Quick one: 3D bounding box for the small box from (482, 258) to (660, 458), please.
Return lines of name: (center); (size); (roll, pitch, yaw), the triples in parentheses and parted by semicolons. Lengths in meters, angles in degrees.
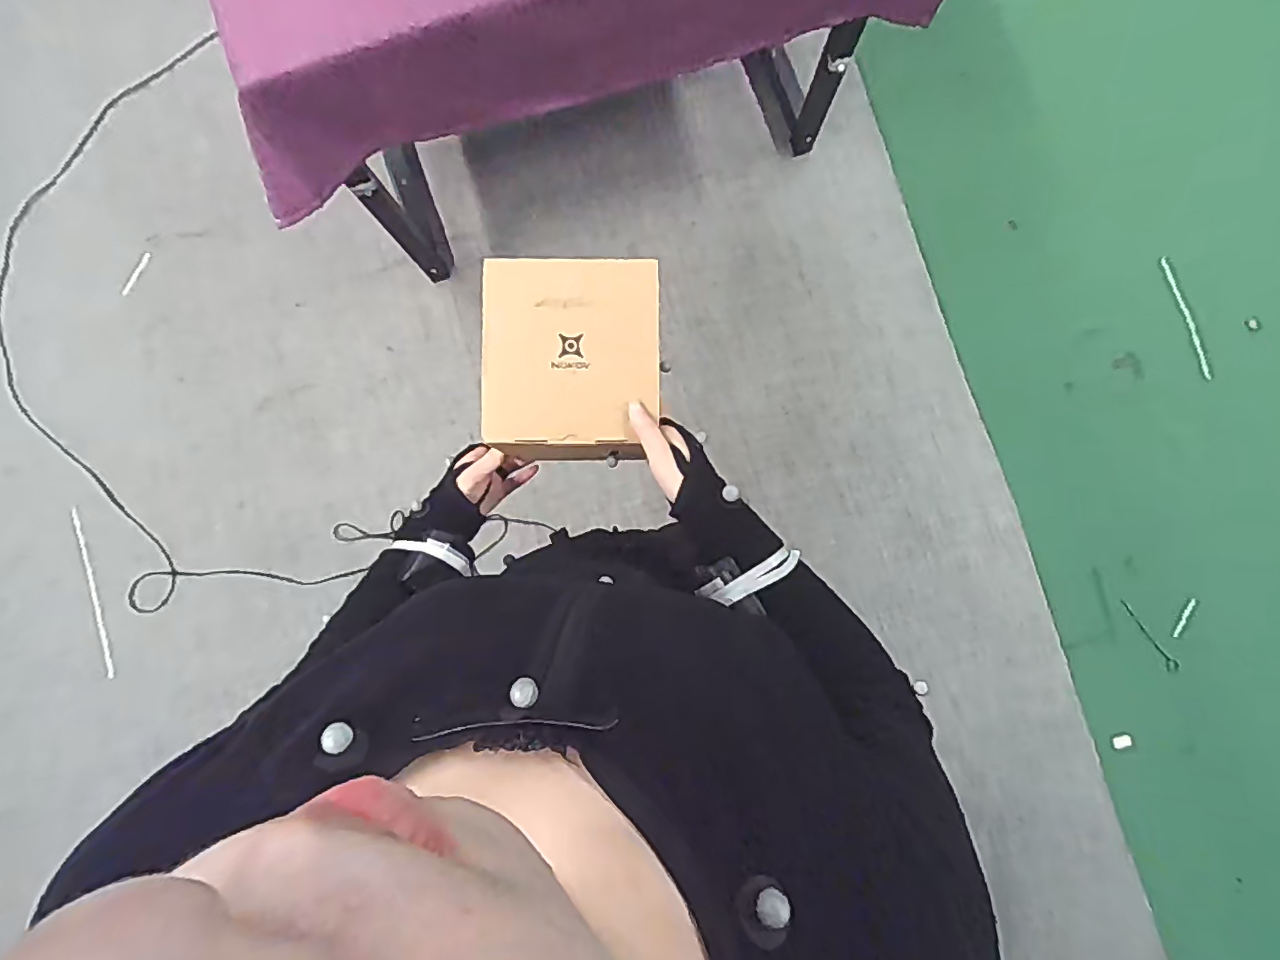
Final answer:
small box: (-0.066, -0.117, 0.584); (0.168, 0.176, 0.179); (1, 87, -2)
